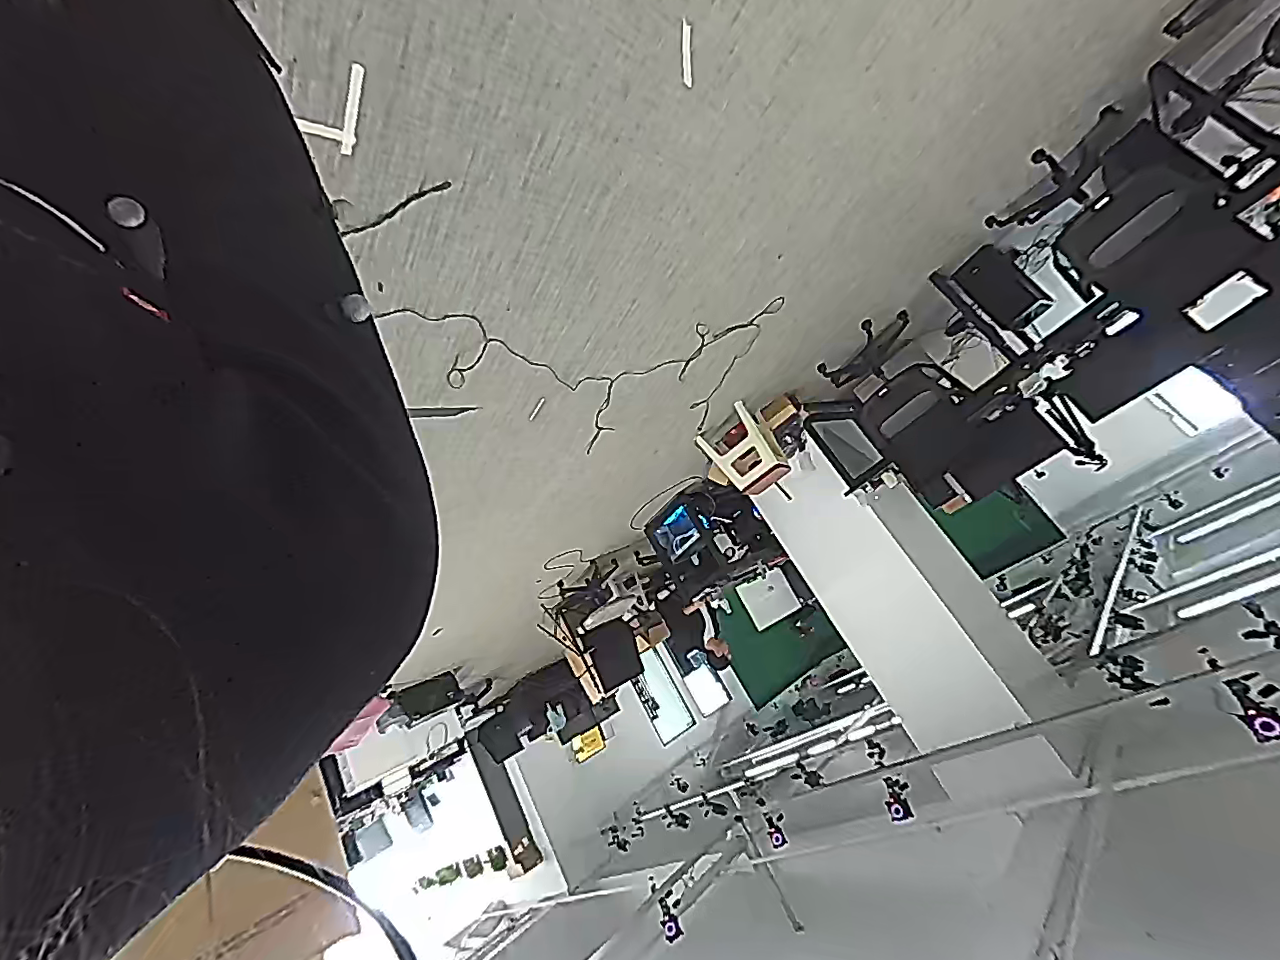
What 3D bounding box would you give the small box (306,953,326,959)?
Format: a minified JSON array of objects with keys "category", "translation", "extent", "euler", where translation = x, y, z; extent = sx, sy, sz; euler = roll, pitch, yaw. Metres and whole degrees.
[{"category":"small box","translation":[-1.052,1.601,1.653],"extent":[0.179,0.176,0.168],"euler":[-10,151,-44]}]
